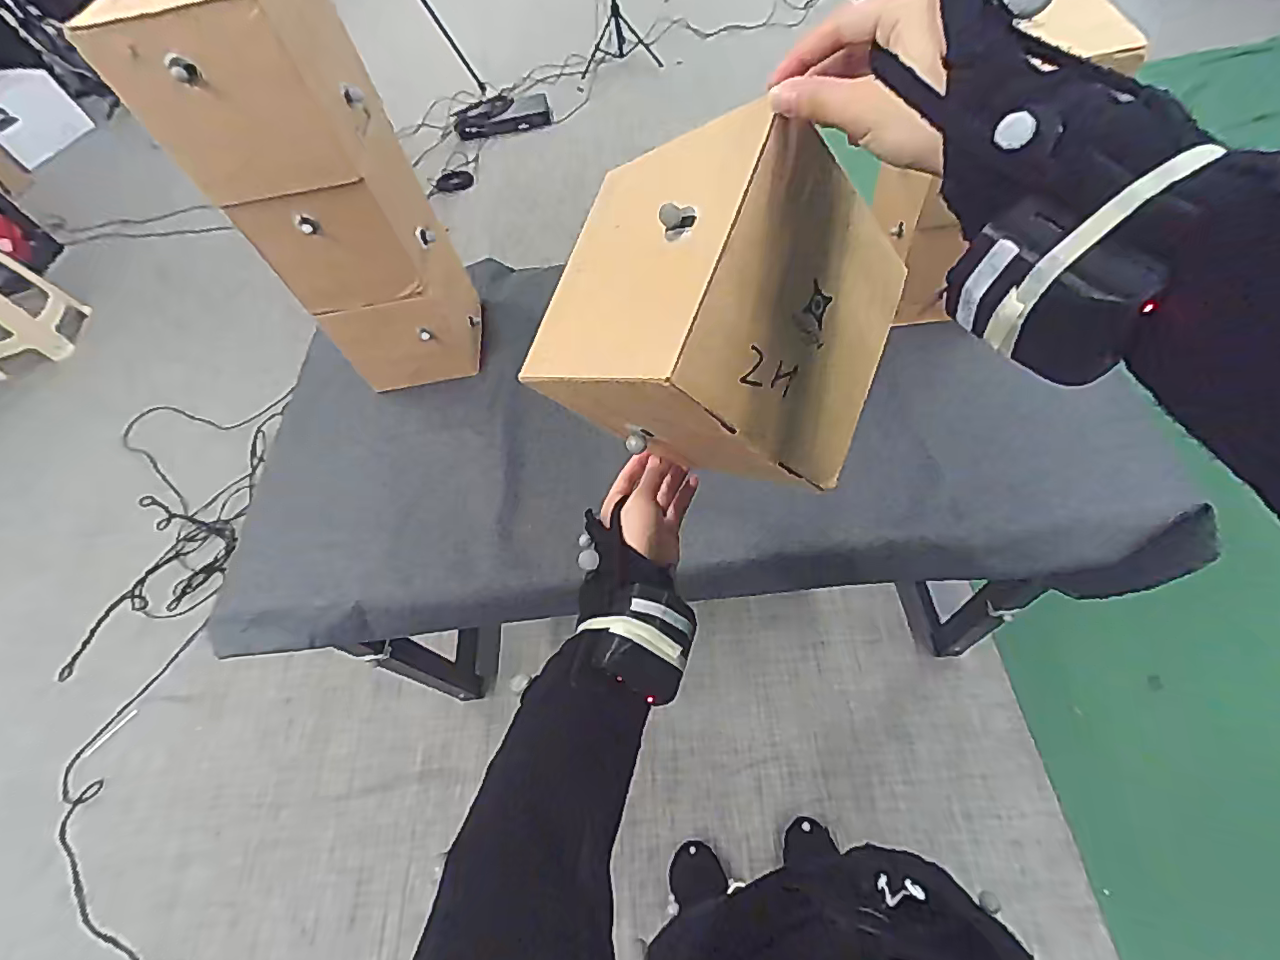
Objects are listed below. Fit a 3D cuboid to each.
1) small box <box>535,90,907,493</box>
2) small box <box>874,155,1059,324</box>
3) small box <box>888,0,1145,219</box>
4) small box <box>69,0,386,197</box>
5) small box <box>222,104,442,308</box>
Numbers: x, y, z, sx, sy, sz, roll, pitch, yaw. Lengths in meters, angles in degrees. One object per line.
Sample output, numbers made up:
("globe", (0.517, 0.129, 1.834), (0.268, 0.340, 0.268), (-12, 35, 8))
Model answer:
("small box", (0.052, -0.112, 0.384), (0.176, 0.168, 0.179), (15, 80, 51))
("small box", (0.434, -0.349, 0.768), (0.168, 0.176, 0.179), (-5, 60, 7))
("small box", (0.407, -0.427, 0.626), (0.168, 0.176, 0.179), (-4, 61, 7))
("small box", (-0.404, -0.426, 0.568), (0.179, 0.176, 0.168), (-8, 60, 3))
("small box", (-0.386, -0.351, 0.714), (0.179, 0.176, 0.168), (-9, 60, 2))
